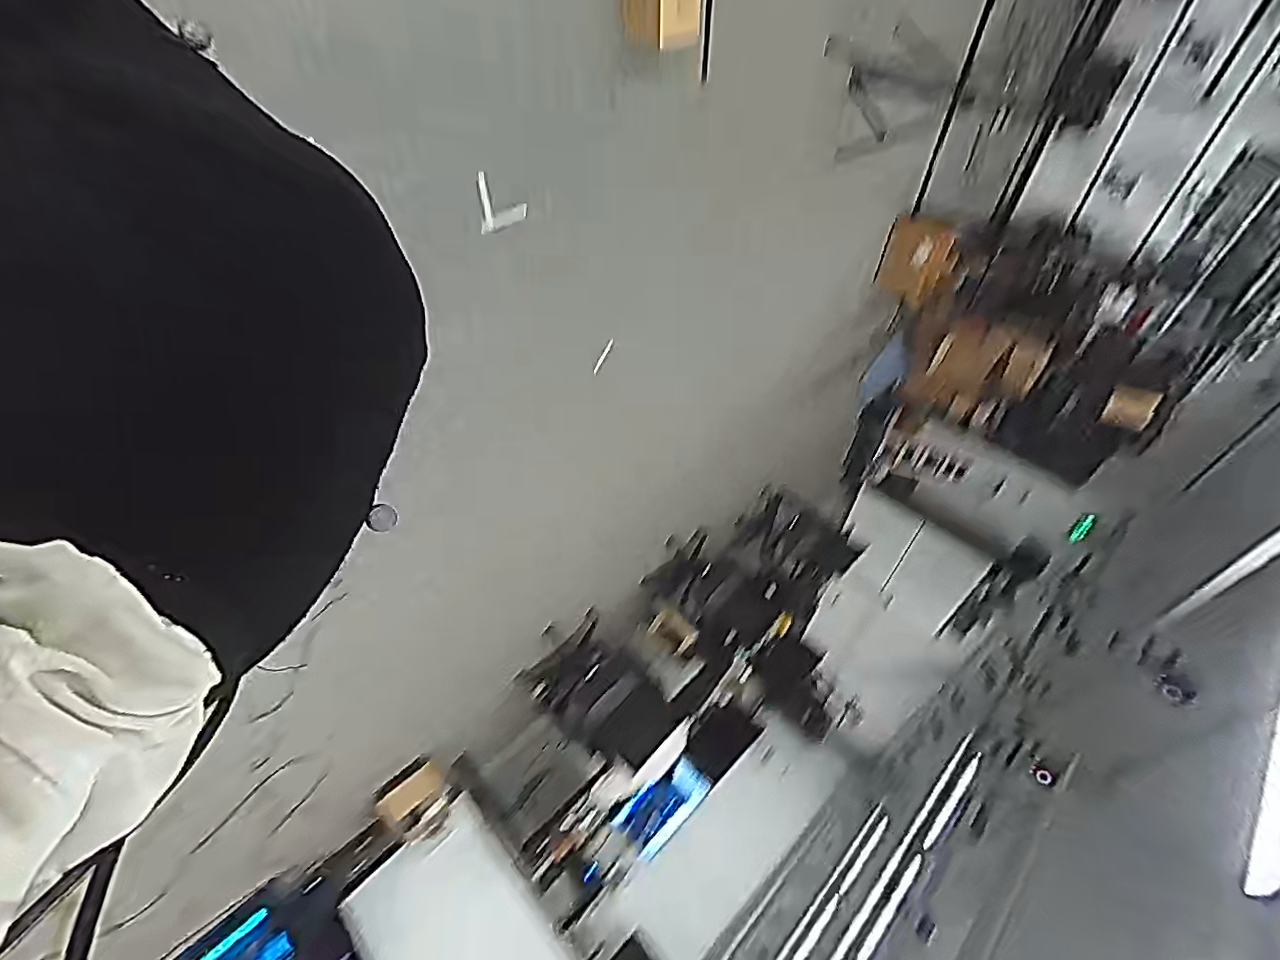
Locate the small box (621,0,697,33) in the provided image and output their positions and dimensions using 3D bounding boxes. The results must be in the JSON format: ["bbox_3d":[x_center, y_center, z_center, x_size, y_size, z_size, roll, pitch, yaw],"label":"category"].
[{"bbox_3d":[0.055,-1.465,1.621,0.179,0.176,0.168,-38,146,-27],"label":"small box"}]
